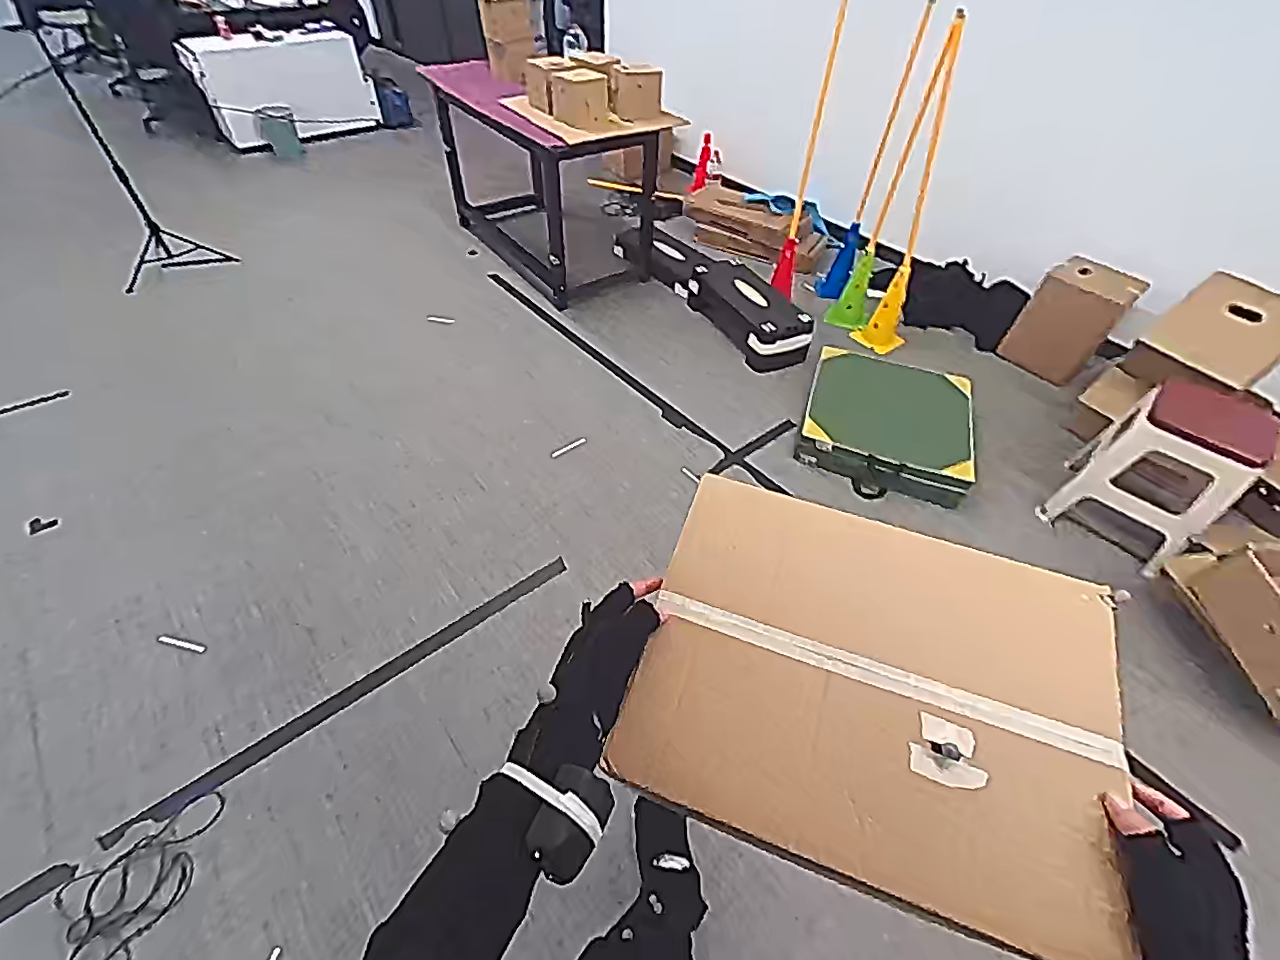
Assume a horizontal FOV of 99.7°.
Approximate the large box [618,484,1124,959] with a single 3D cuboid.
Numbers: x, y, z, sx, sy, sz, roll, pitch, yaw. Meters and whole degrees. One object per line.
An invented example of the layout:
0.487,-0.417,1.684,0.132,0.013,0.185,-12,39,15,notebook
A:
0.218,0.256,0.628,0.408,0.320,0.320,17,61,12,large box
